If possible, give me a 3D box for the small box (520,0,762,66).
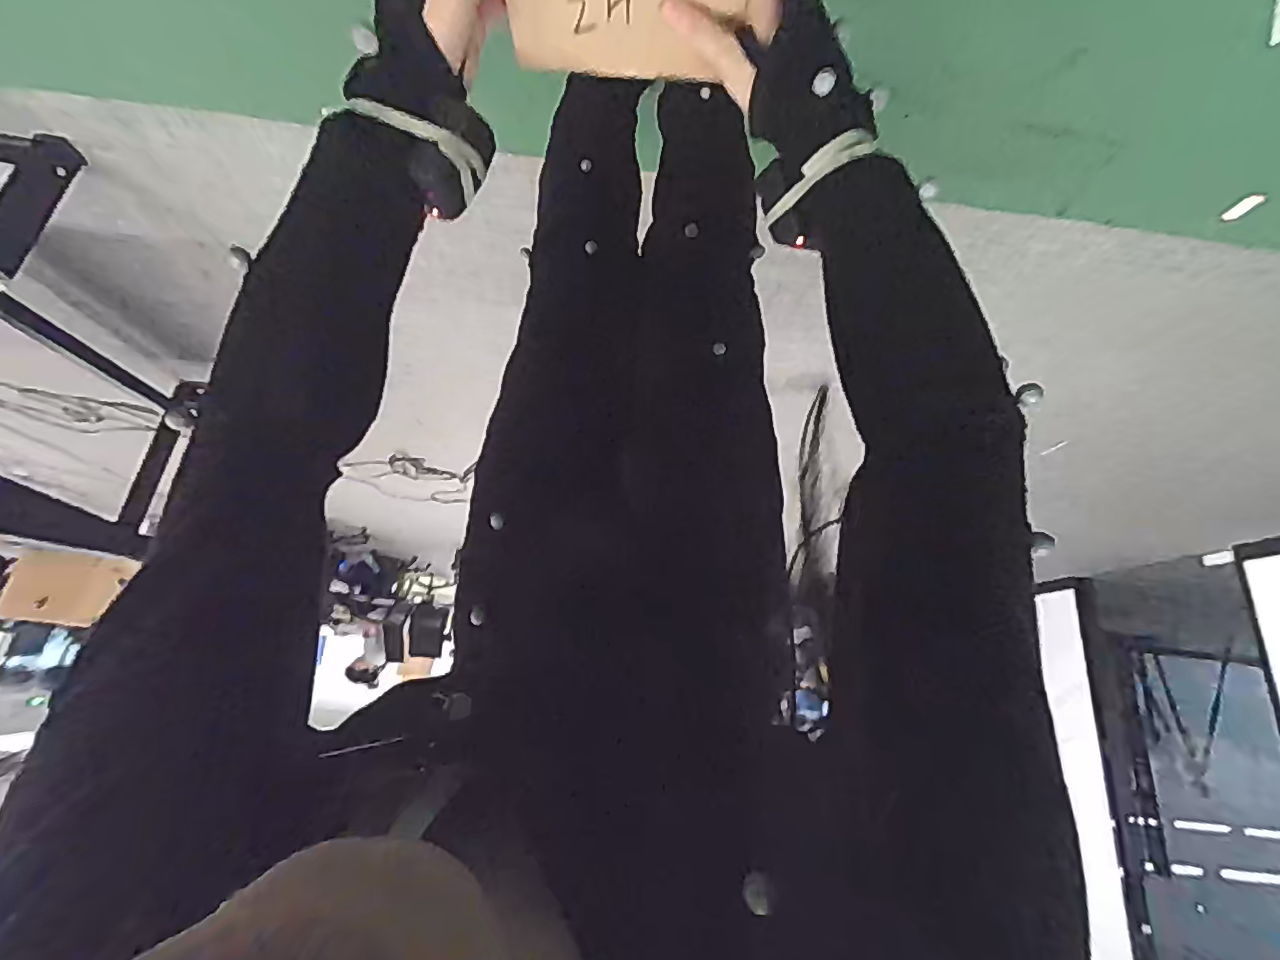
[{"bbox_3d":[0.008,-0.416,0.347,0.168,0.176,0.179,6,156,1],"label":"small box"}]

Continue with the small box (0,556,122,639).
[{"bbox_3d":[-1.423,0.283,1.300,0.179,0.176,0.168,7,160,-4],"label":"small box"}]
